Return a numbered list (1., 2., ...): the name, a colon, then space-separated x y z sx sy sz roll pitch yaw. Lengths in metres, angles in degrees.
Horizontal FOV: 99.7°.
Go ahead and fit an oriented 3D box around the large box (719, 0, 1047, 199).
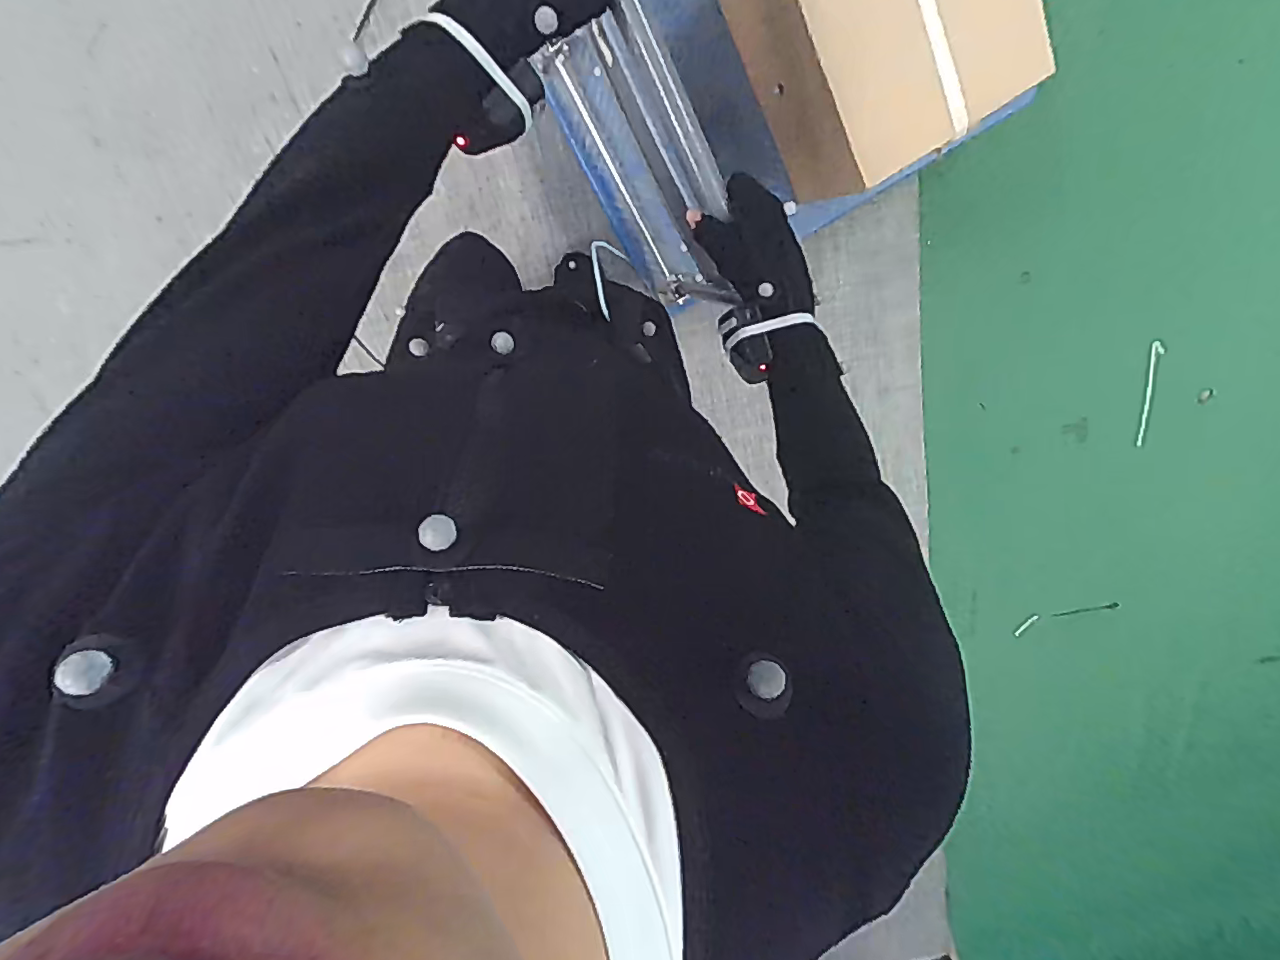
1. large box: 0.376 -0.755 0.904 0.320 0.320 0.408 -30 112 8
